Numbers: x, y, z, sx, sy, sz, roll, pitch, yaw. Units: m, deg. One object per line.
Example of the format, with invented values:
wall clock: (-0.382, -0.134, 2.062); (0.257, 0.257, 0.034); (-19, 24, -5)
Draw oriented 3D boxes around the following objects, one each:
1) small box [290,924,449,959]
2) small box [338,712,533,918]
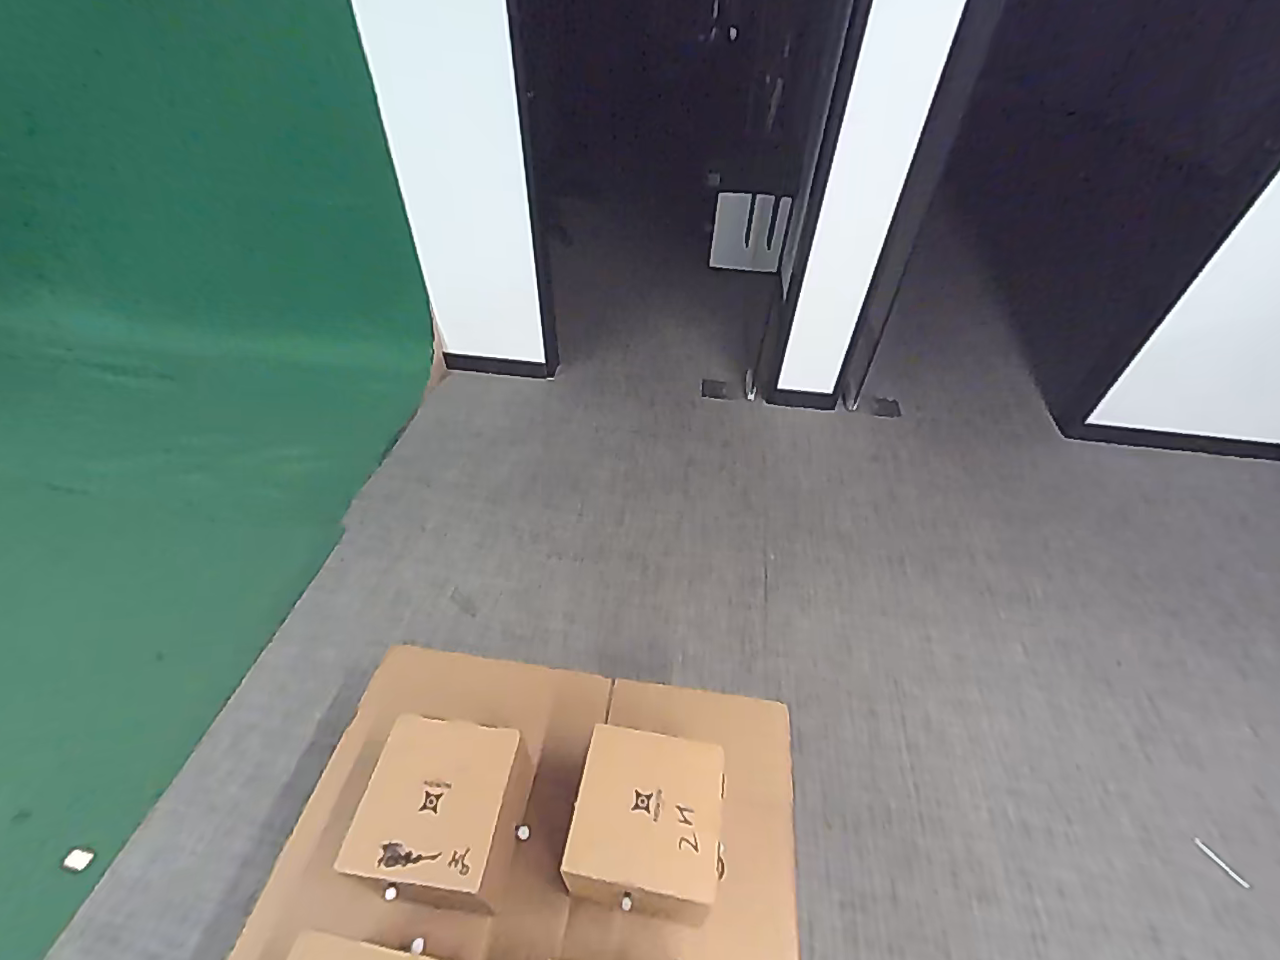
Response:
small box: (-0.279, 0.585, 0.543); (0.168, 0.176, 0.179); (7, 44, 6)
small box: (-0.243, 0.431, 0.699); (0.168, 0.176, 0.179); (5, 43, 5)
